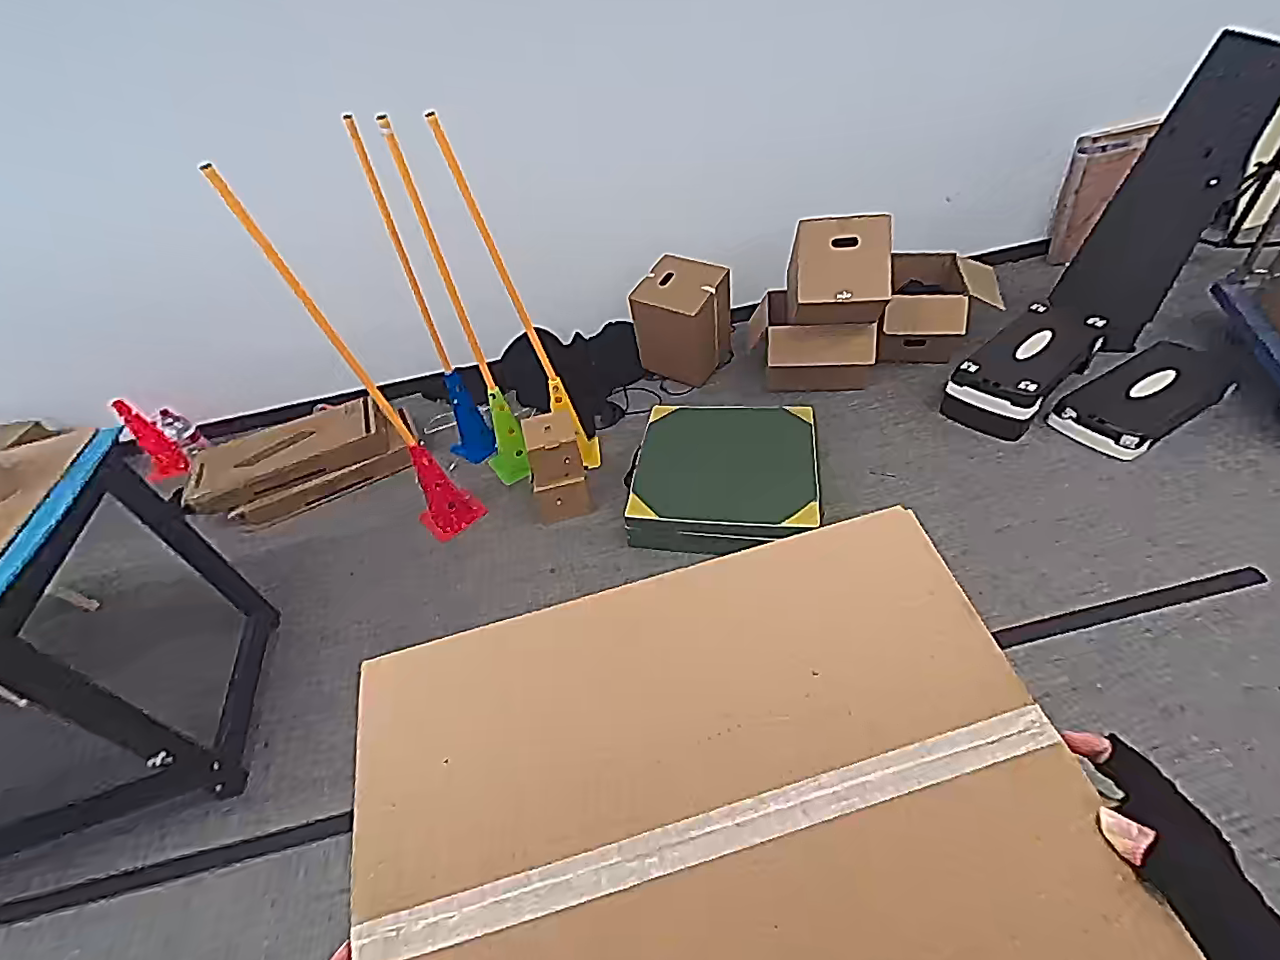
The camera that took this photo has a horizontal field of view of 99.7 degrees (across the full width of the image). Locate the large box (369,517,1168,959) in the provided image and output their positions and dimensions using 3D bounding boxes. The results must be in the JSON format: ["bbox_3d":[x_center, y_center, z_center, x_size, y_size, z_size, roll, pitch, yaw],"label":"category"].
[{"bbox_3d":[0.056,0.281,0.437,0.408,0.320,0.320,-16,56,-3],"label":"large box"}]
